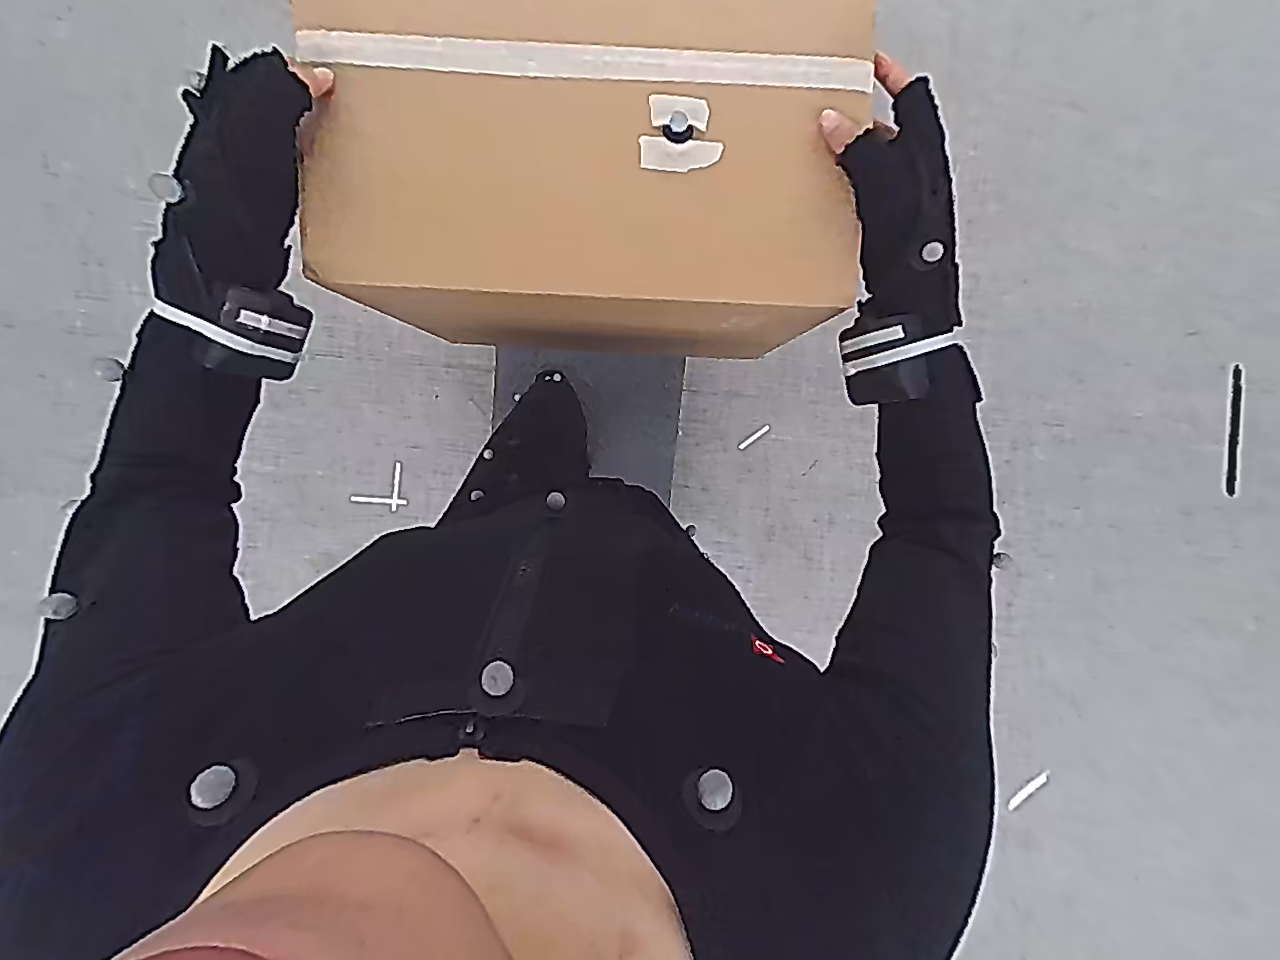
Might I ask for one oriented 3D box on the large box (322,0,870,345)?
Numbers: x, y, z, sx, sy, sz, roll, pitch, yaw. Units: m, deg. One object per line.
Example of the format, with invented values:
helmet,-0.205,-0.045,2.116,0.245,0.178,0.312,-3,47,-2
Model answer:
large box,-0.037,-0.319,0.544,0.408,0.320,0.320,2,96,-2
